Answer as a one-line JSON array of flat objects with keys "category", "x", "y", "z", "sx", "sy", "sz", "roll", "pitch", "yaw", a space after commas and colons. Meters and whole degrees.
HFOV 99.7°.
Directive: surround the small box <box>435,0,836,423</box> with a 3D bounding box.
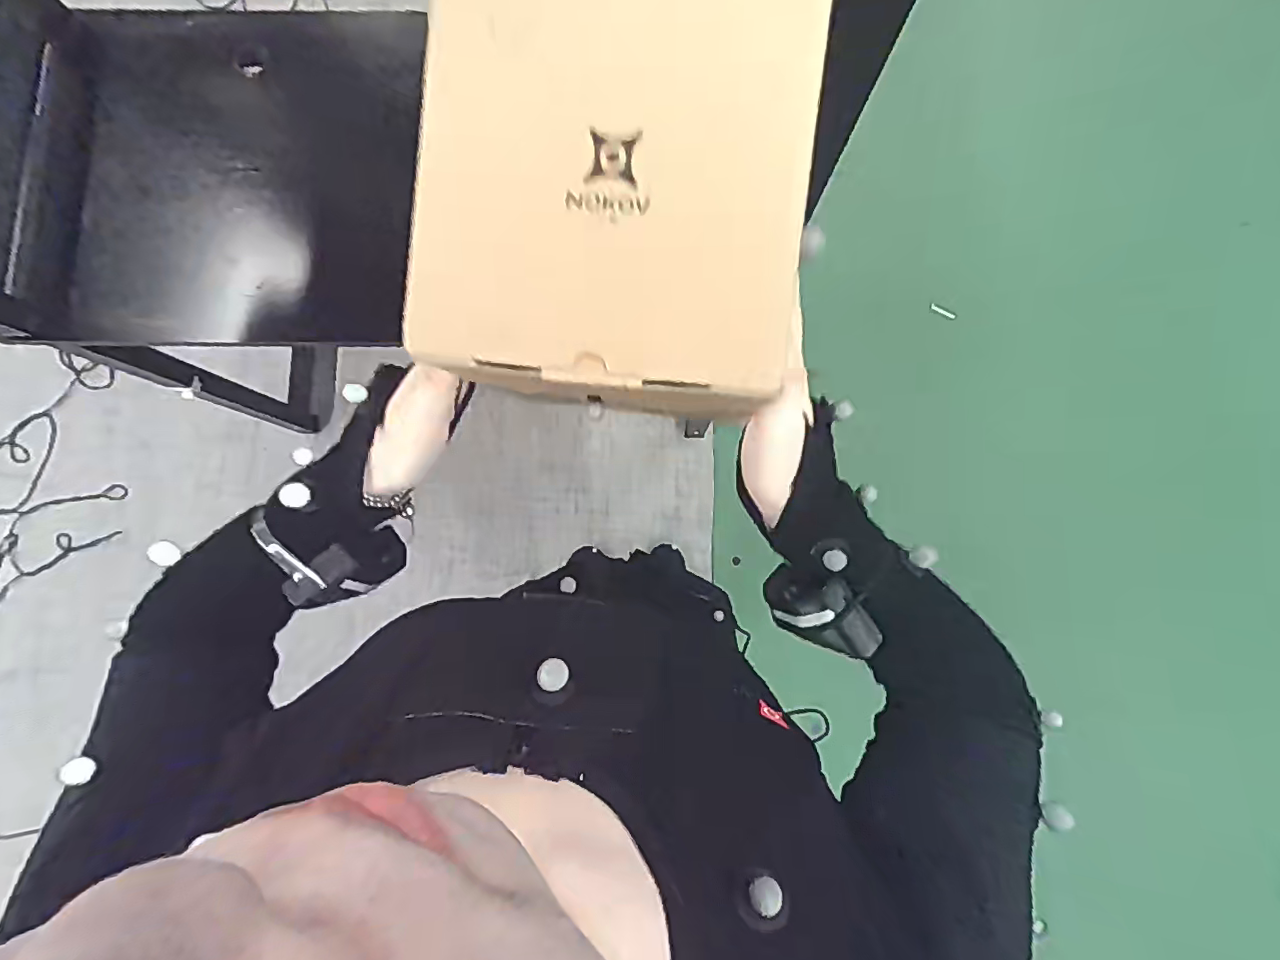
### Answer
[{"category": "small box", "x": -0.001, "y": -0.131, "z": 0.319, "sx": 0.168, "sy": 0.176, "sz": 0.179, "roll": 6, "pitch": 94, "yaw": 3}]
